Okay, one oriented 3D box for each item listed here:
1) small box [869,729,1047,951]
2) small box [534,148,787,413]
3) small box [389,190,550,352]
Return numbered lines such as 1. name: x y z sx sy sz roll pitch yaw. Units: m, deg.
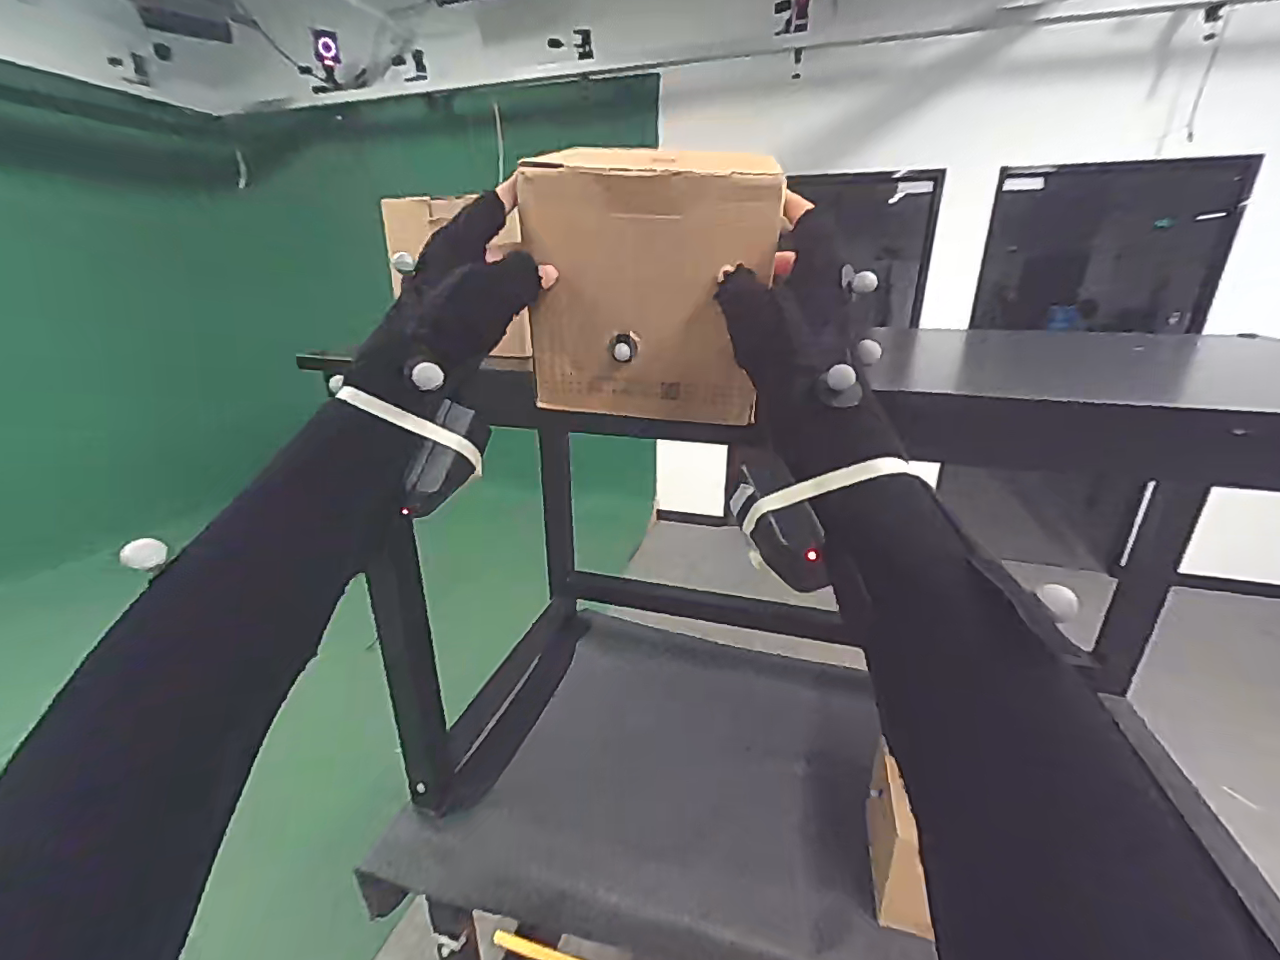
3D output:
1. small box: 0.426 0.493 0.760 0.168 0.176 0.179 5 20 15
2. small box: 0.020 -0.172 0.450 0.168 0.176 0.179 5 32 7
3. small box: -0.179 -0.256 0.683 0.168 0.176 0.179 6 20 14
